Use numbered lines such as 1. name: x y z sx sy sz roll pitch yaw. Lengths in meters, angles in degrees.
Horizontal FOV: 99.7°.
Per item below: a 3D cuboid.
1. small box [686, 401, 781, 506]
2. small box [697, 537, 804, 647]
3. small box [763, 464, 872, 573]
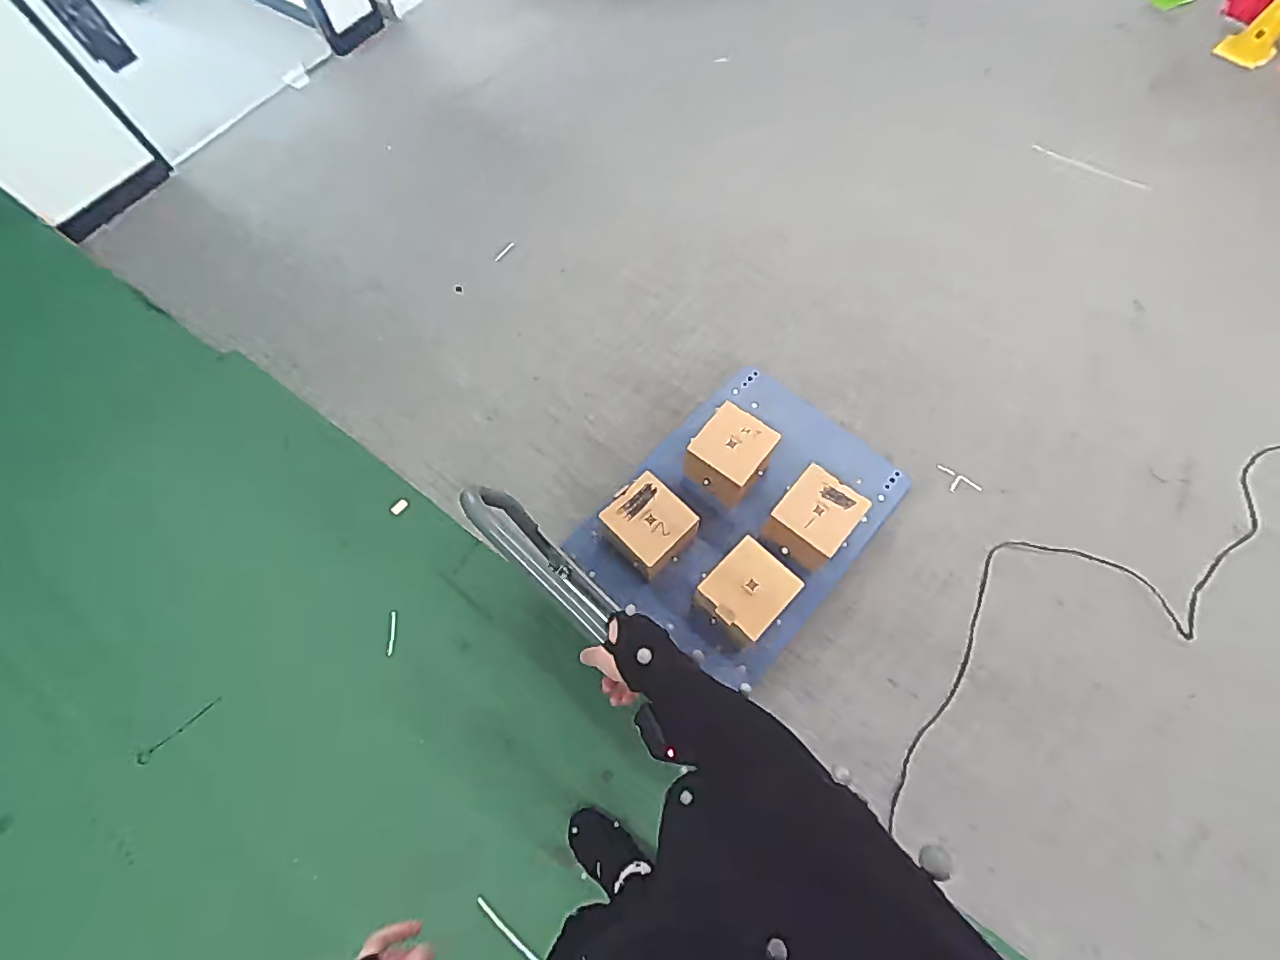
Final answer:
1. small box: 0.231 -0.060 1.382 0.168 0.176 0.179 37 73 15
2. small box: 0.244 0.264 1.249 0.168 0.176 0.179 42 76 17
3. small box: 0.419 0.098 1.309 0.168 0.176 0.179 39 75 17
